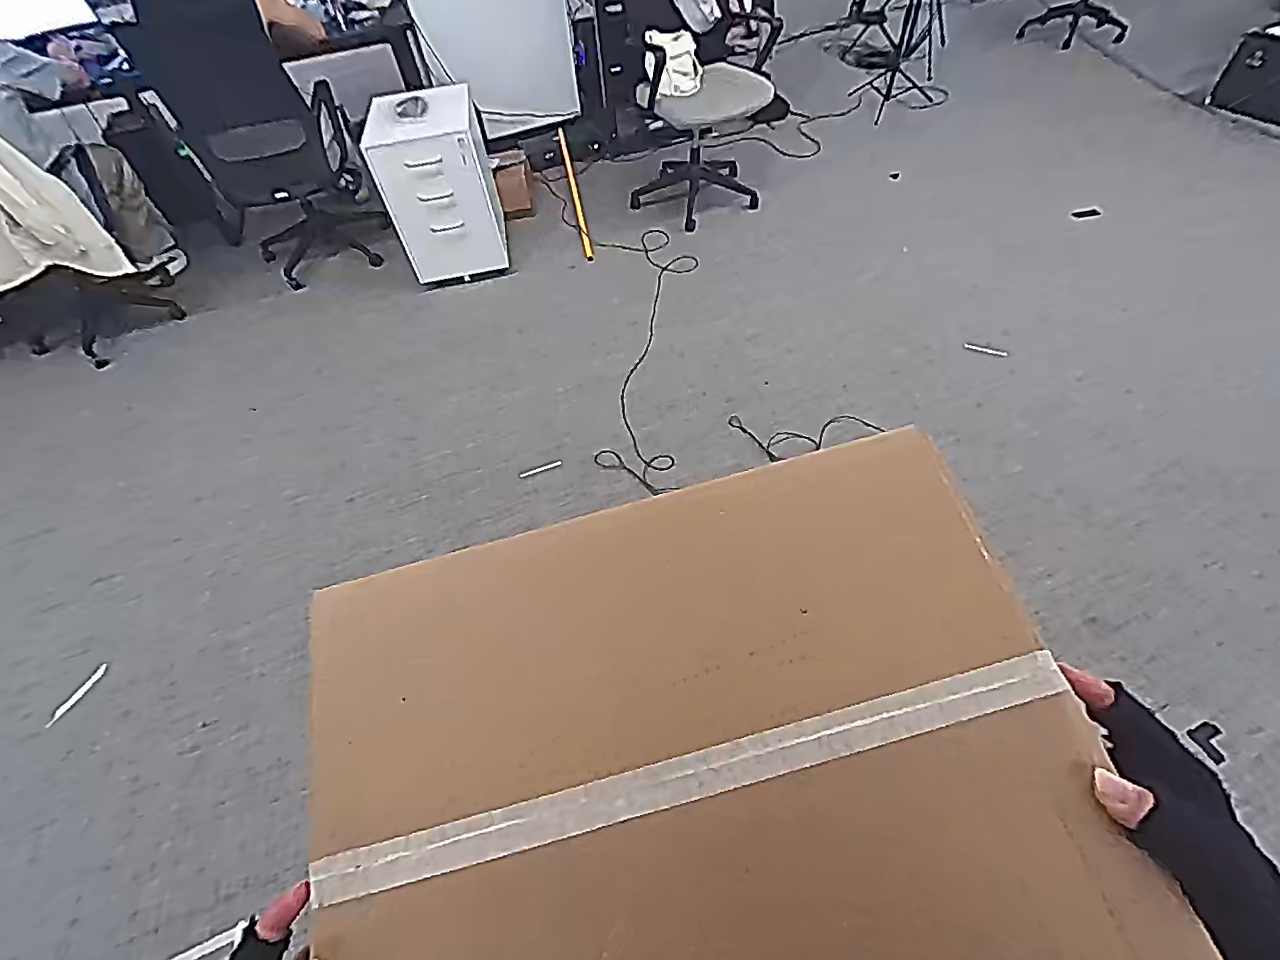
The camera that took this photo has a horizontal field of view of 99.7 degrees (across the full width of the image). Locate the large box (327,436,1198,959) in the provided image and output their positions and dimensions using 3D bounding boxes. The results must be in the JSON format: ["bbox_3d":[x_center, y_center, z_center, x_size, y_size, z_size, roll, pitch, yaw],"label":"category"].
[{"bbox_3d":[0.043,0.216,0.428,0.408,0.320,0.320,-16,65,0],"label":"large box"}]
